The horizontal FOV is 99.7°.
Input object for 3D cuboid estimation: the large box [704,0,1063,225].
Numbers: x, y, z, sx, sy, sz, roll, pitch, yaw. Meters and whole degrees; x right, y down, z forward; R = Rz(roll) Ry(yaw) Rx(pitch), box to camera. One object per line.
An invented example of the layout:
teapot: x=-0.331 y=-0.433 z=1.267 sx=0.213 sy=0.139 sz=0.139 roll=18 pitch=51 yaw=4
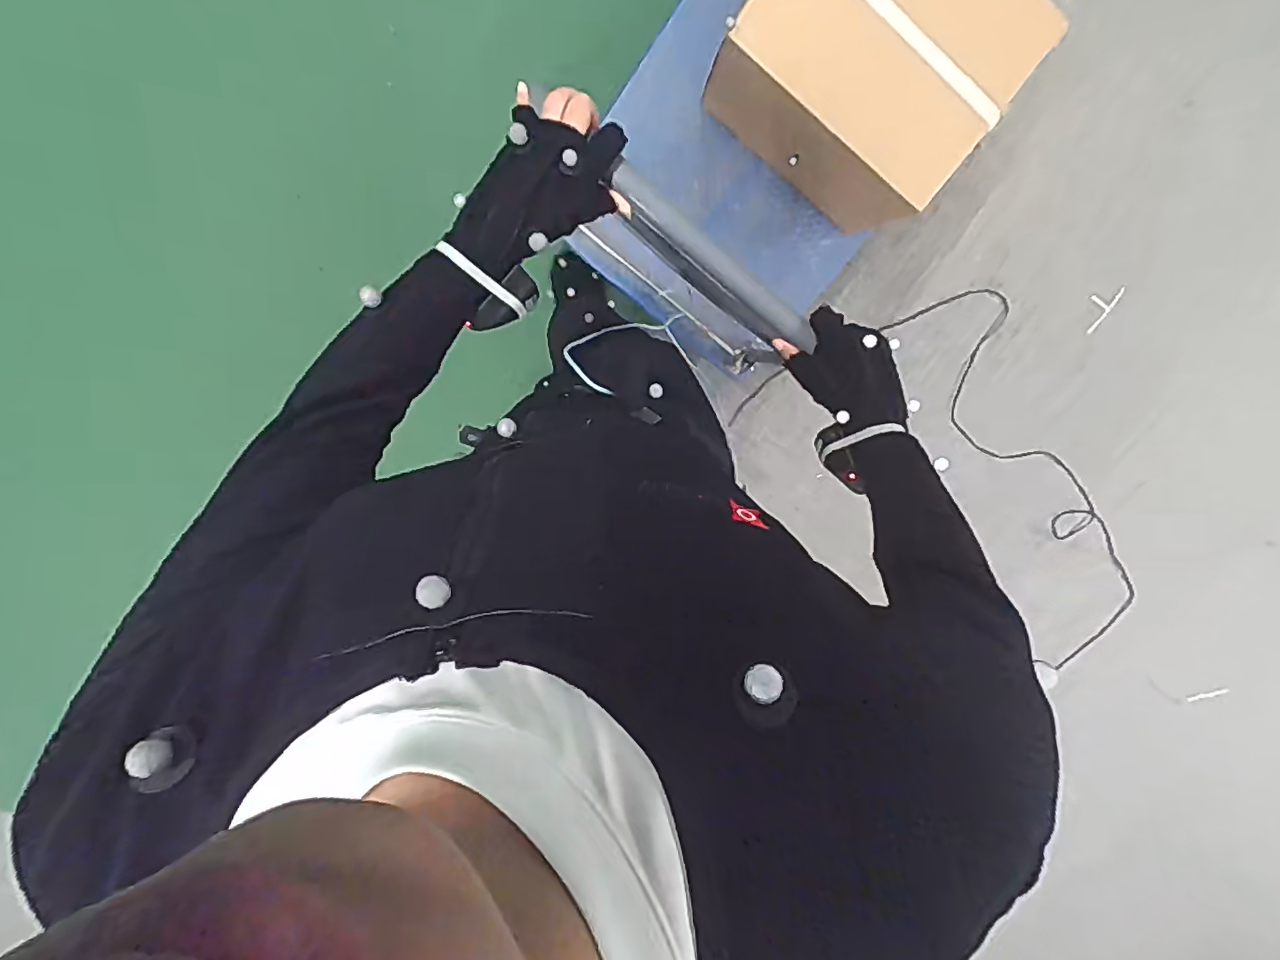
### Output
large box: x=0.370 y=-0.709 z=0.926 sx=0.408 sy=0.320 sz=0.320 roll=35 pitch=105 yaw=-11
